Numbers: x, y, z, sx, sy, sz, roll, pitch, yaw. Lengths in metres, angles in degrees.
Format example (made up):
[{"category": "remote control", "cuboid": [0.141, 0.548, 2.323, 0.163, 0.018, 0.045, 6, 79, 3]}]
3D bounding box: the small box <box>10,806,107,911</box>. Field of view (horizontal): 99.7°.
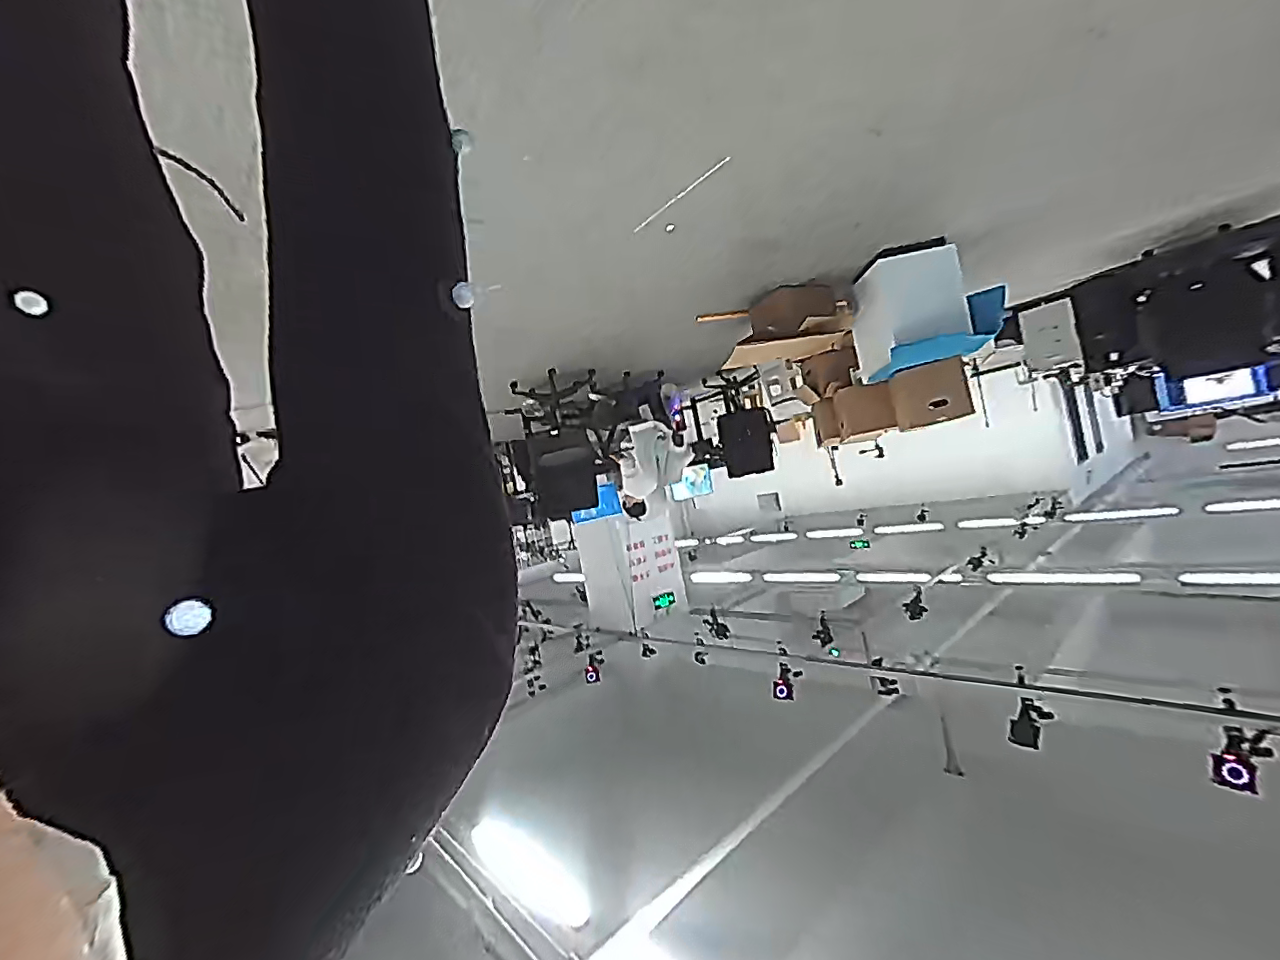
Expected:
[{"category": "small box", "cuboid": [-1.700, 1.095, 1.586, 0.168, 0.176, 0.179, -9, 180, -40]}]
